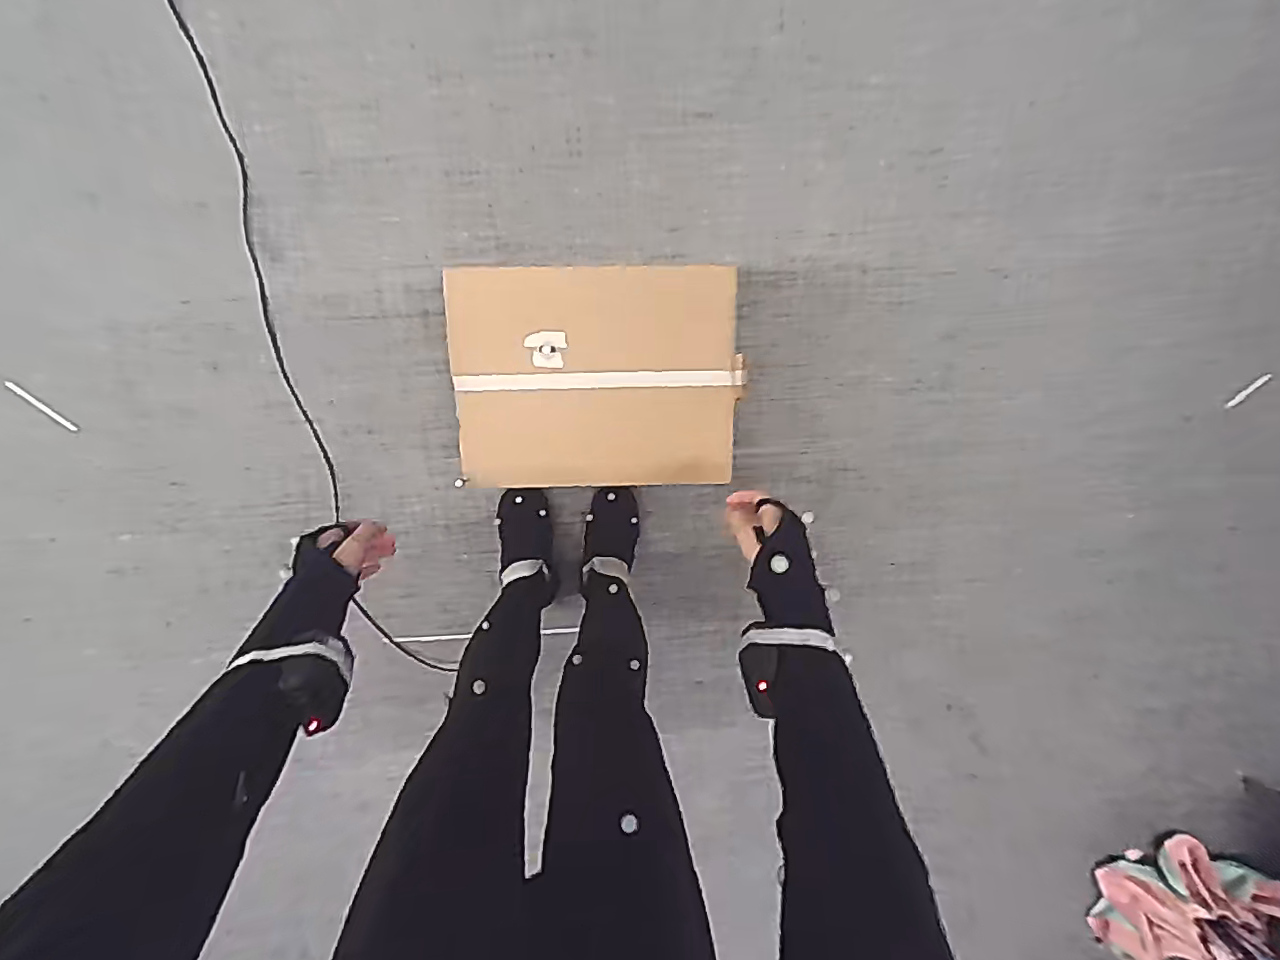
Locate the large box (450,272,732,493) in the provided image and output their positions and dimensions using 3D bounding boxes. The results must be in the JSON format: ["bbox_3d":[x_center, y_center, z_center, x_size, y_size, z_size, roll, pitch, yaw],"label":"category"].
[{"bbox_3d":[-0.064,-0.171,0.934,0.408,0.320,0.320,-1,103,0],"label":"large box"}]
